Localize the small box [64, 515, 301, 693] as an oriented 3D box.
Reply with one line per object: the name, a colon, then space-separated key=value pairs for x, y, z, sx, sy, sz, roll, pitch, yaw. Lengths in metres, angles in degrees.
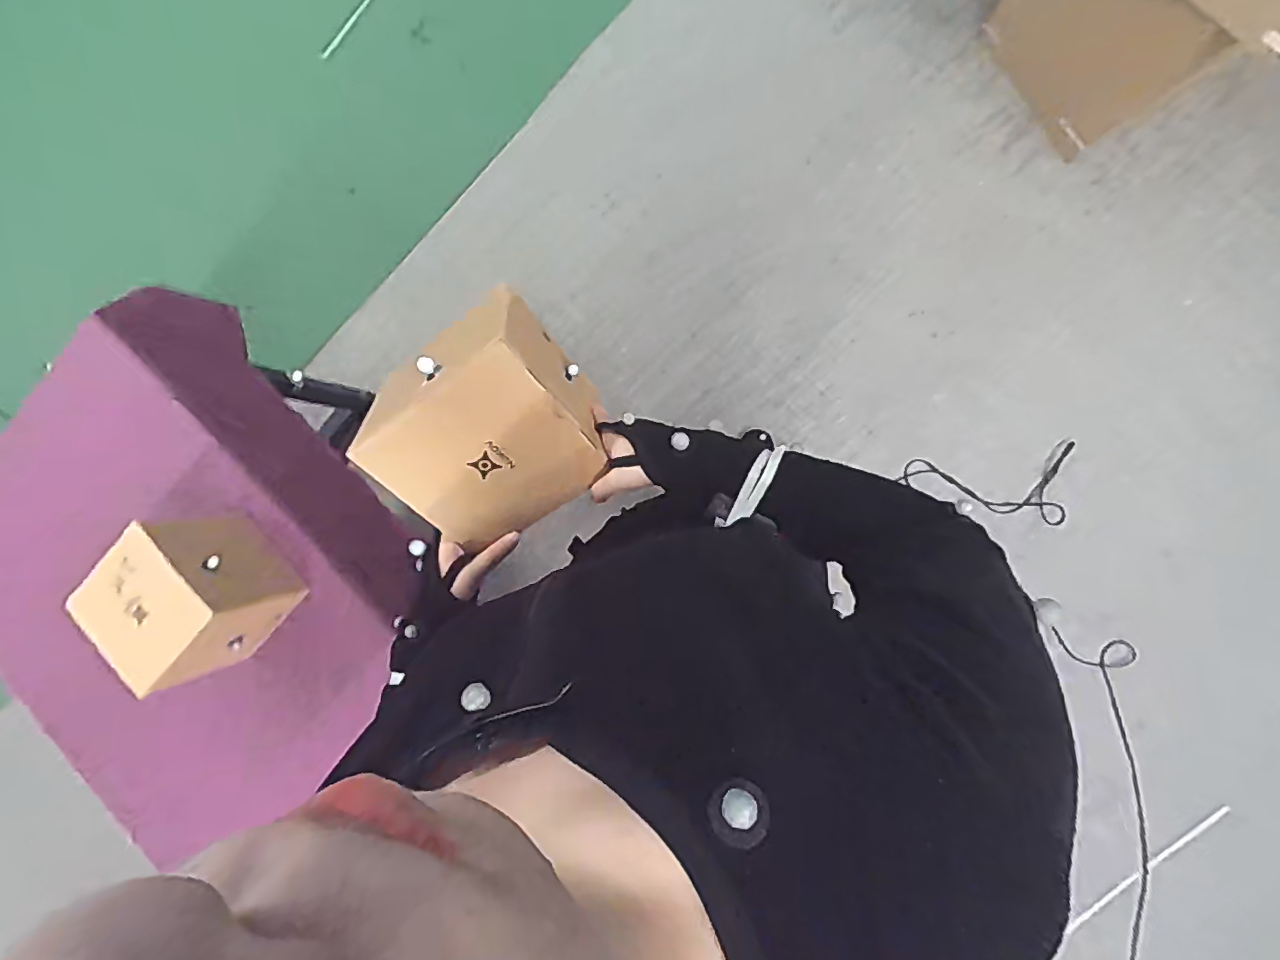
small box: x=-0.653 y=0.166 z=0.795 sx=0.168 sy=0.176 sz=0.179 roll=-45 pitch=84 yaw=6

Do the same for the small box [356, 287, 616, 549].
small box: x=-0.146 y=-0.068 z=0.559 sx=0.179 sy=0.176 sz=0.168 roll=-32 pitch=124 yaw=9
